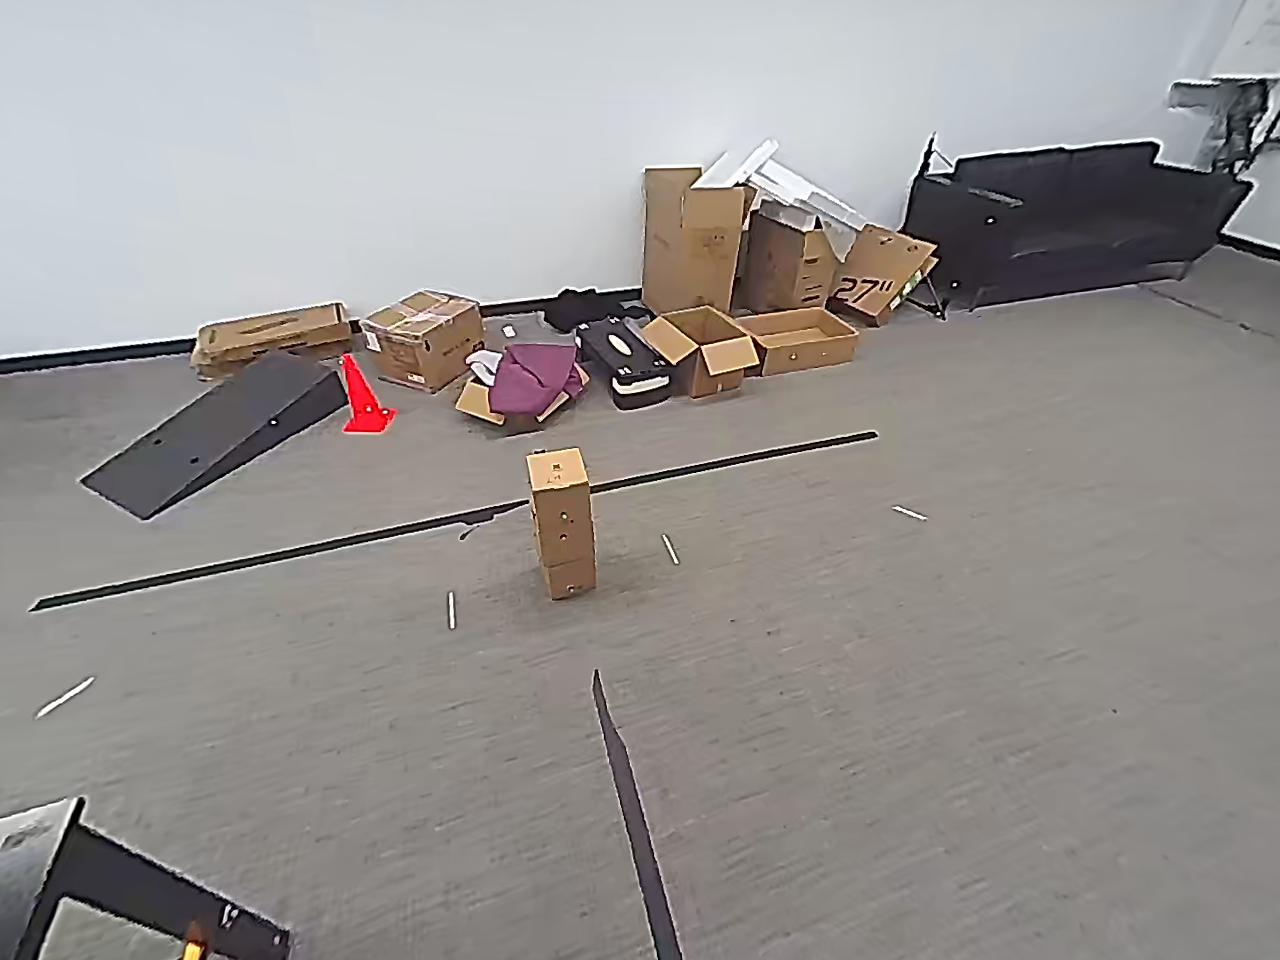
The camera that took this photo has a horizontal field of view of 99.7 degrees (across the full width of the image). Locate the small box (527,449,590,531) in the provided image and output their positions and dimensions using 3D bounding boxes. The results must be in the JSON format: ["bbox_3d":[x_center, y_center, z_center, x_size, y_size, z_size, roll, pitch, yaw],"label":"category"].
[{"bbox_3d":[-0.251,0.031,1.672,0.168,0.176,0.179,-10,42,-12],"label":"small box"}]

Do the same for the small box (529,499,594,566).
[{"bbox_3d":[-0.255,0.159,1.776,0.179,0.176,0.168,-12,42,-14],"label":"small box"}]

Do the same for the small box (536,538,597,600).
[{"bbox_3d":[-0.256,0.285,1.882,0.168,0.176,0.179,-16,44,-17],"label":"small box"}]
